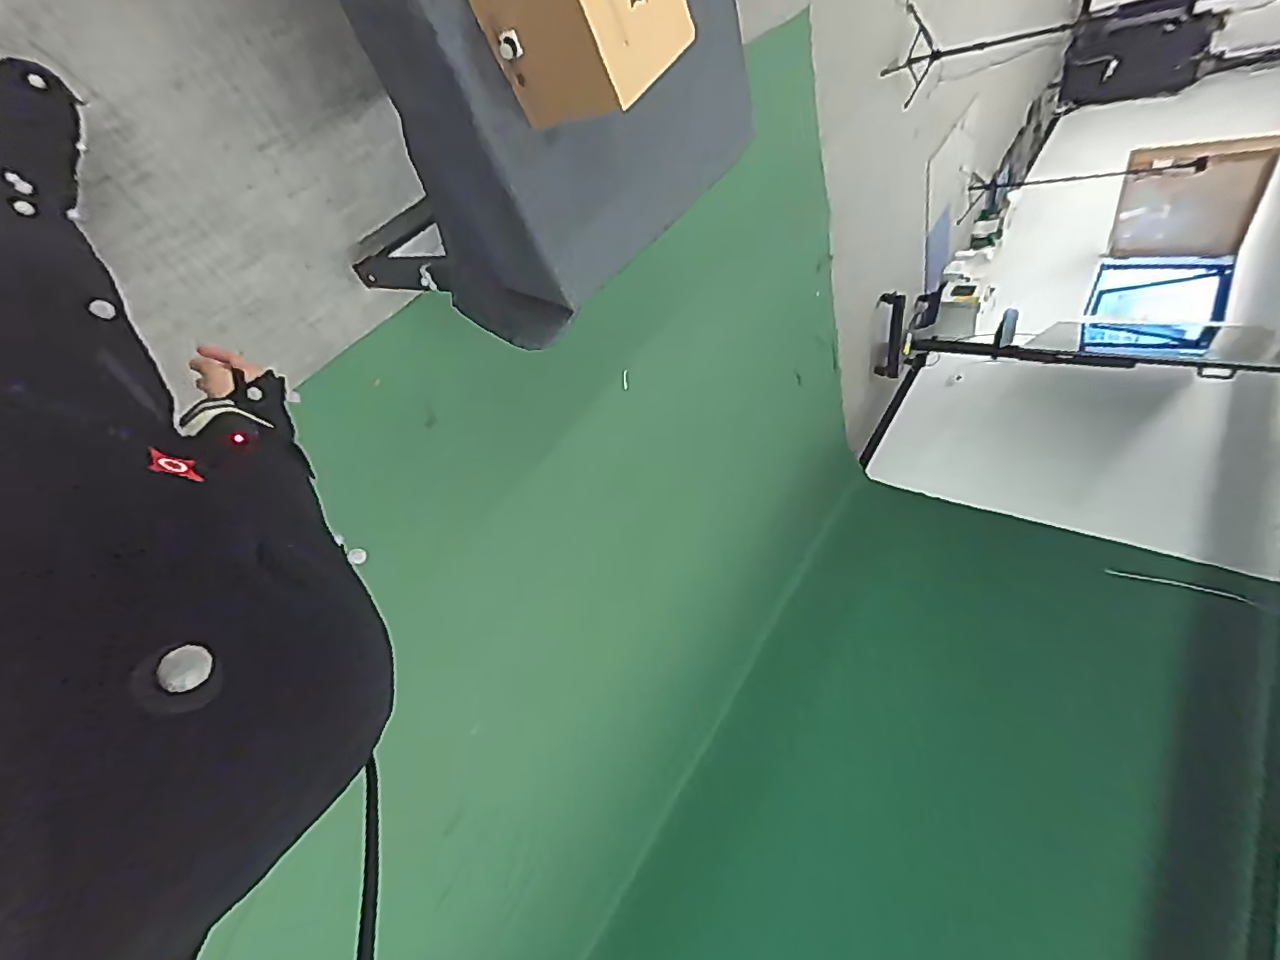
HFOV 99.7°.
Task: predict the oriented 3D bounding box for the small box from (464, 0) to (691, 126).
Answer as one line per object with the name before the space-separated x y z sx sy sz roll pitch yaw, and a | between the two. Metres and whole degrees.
small box | -0.071 -0.561 0.645 0.179 0.176 0.168 -56 139 -19
